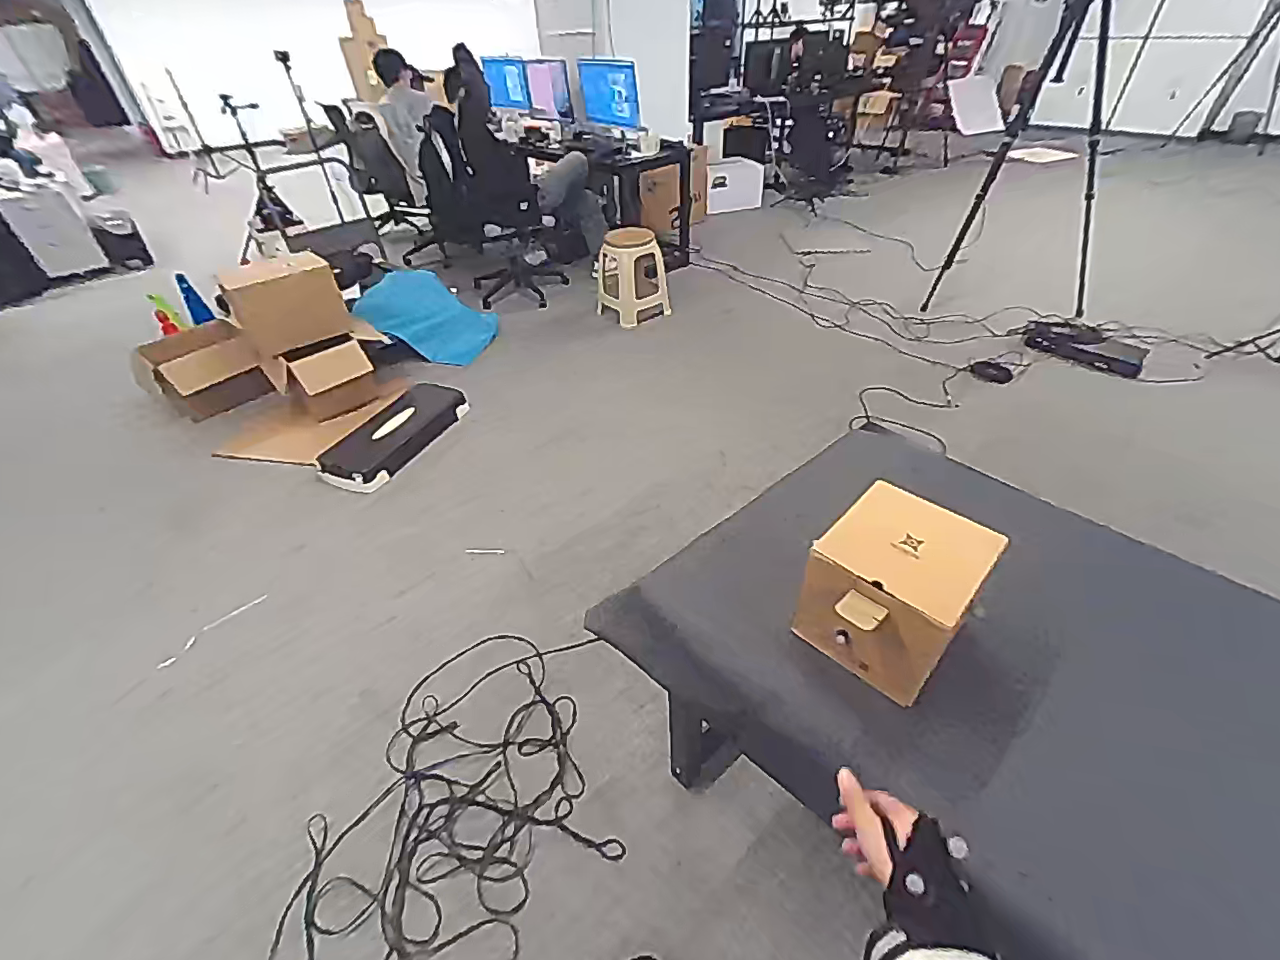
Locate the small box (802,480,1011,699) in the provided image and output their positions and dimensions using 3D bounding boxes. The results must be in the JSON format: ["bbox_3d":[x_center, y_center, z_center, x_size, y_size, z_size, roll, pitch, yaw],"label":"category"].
[{"bbox_3d":[0.328,0.137,0.694,0.168,0.176,0.179,31,51,33],"label":"small box"}]
